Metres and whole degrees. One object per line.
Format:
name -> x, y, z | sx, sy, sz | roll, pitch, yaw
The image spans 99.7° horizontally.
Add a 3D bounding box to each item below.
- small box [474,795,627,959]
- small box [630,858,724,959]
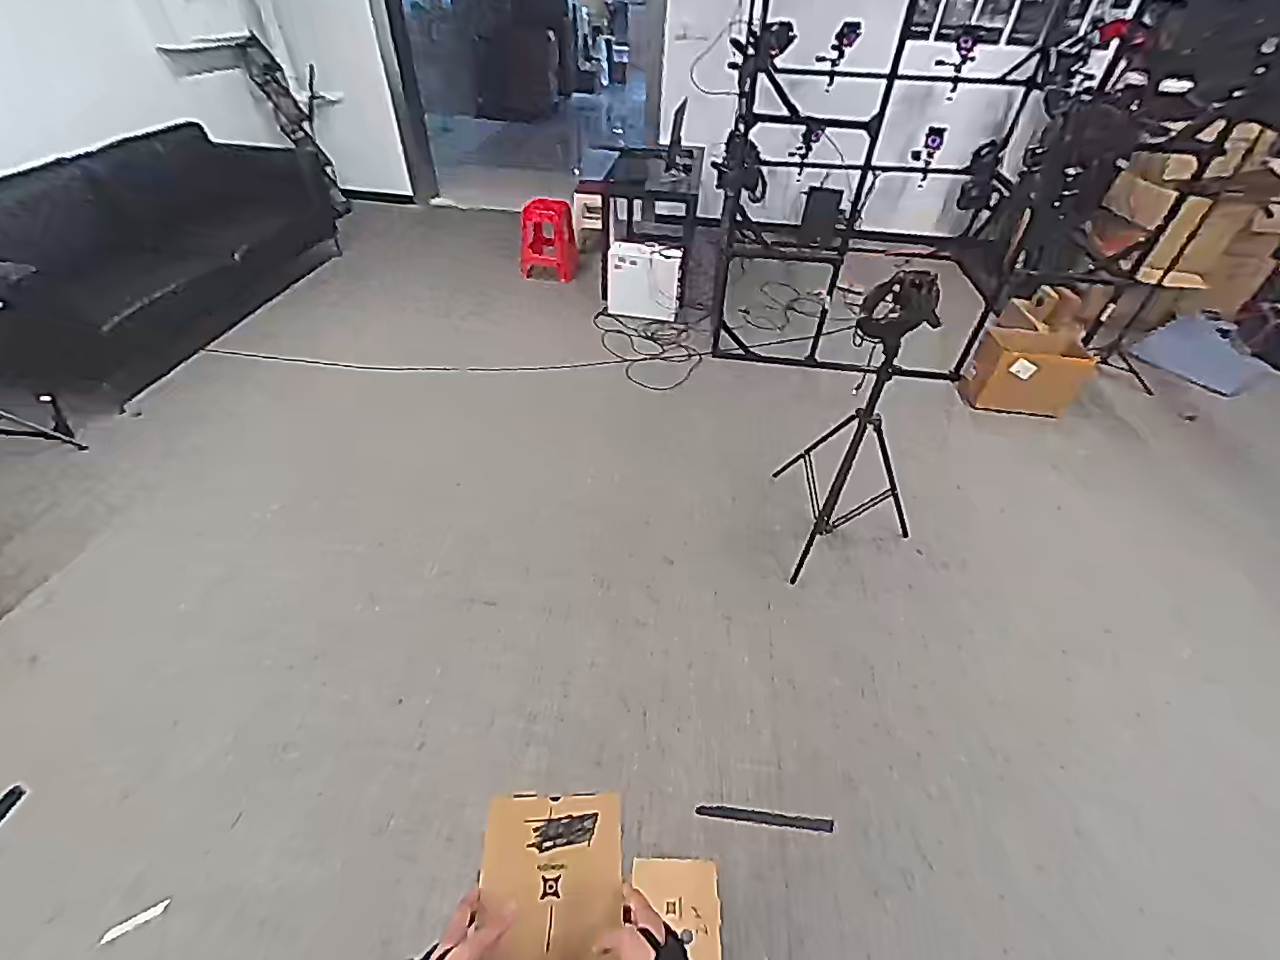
small box -> -0.112, 0.517, 0.677 | 0.168, 0.176, 0.179 | 4, 45, -9
small box -> 0.072, 0.899, 1.107 | 0.179, 0.176, 0.168 | 3, 42, 1
